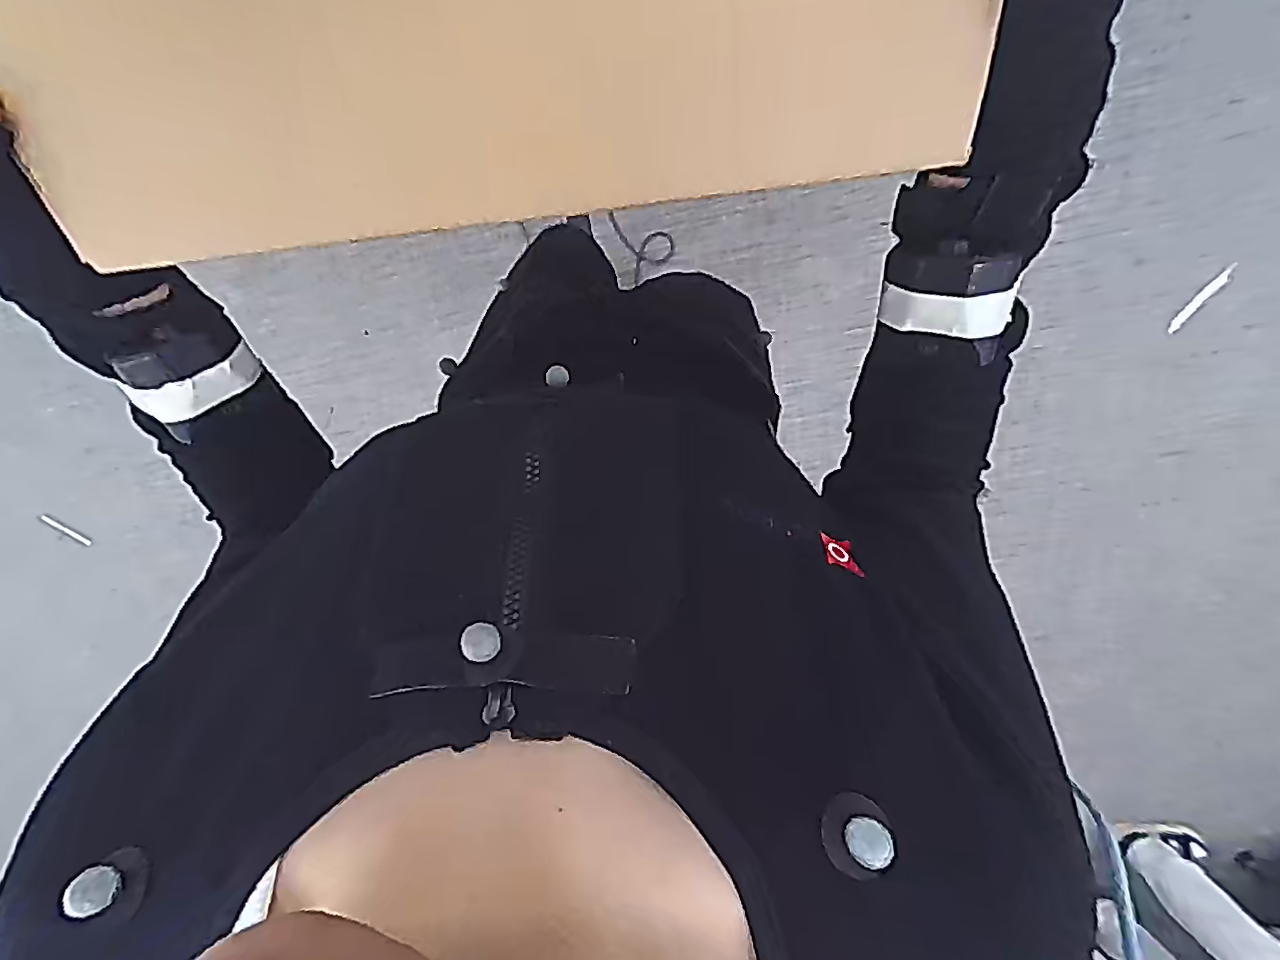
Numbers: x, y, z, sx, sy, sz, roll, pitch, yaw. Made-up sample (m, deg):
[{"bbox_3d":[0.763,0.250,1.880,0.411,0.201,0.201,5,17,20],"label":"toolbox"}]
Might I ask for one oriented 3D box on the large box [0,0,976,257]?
[{"bbox_3d":[-0.077,-0.340,0.290,0.408,0.320,0.320,-6,126,3],"label":"large box"}]
